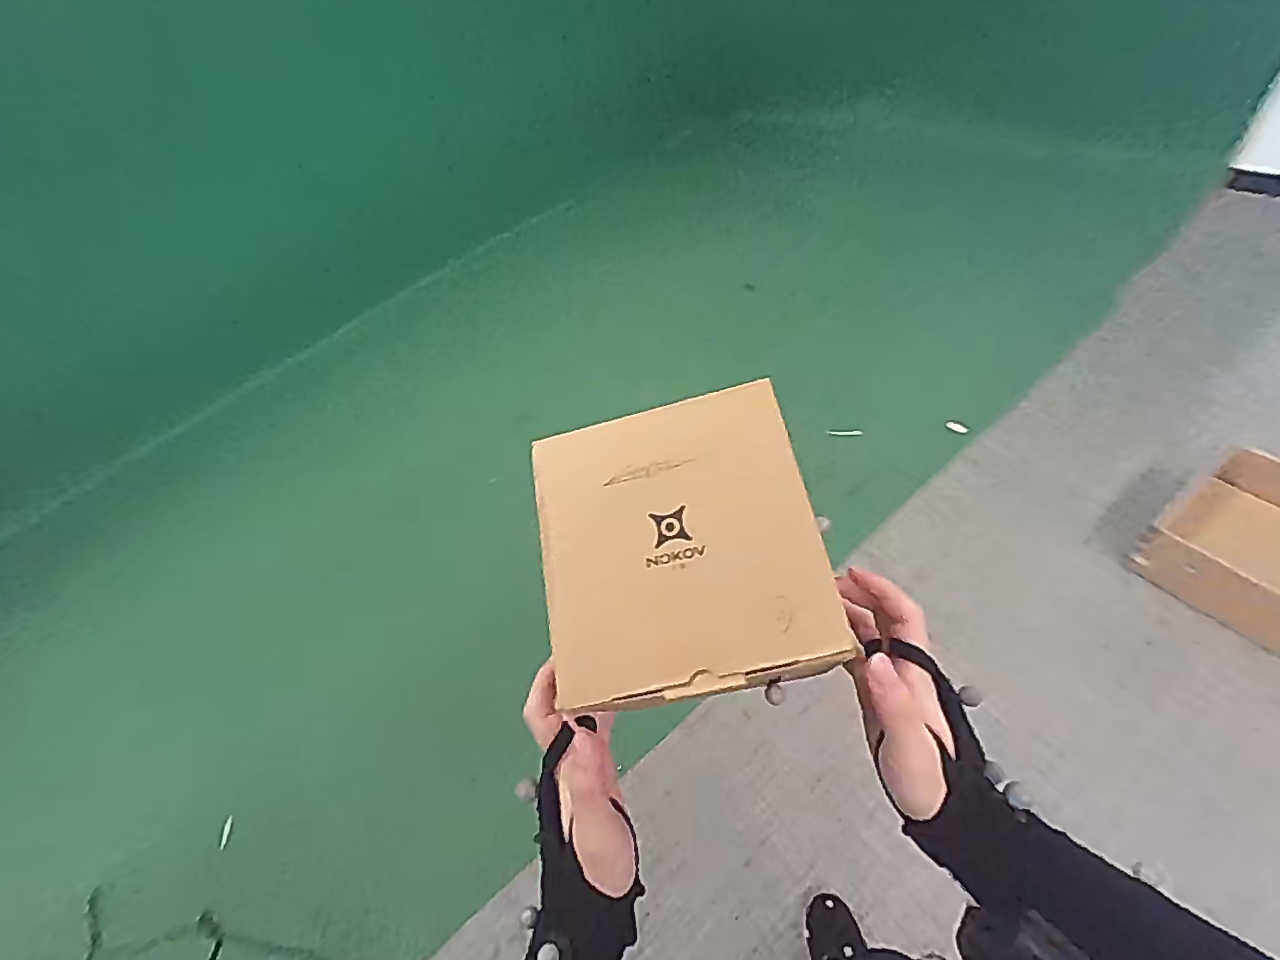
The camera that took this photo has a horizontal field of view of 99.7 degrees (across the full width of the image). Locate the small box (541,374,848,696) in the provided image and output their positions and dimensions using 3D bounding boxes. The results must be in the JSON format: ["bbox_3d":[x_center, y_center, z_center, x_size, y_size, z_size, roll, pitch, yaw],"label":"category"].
[{"bbox_3d":[0.040,0.056,0.399,0.168,0.176,0.179,-13,65,8],"label":"small box"}]
